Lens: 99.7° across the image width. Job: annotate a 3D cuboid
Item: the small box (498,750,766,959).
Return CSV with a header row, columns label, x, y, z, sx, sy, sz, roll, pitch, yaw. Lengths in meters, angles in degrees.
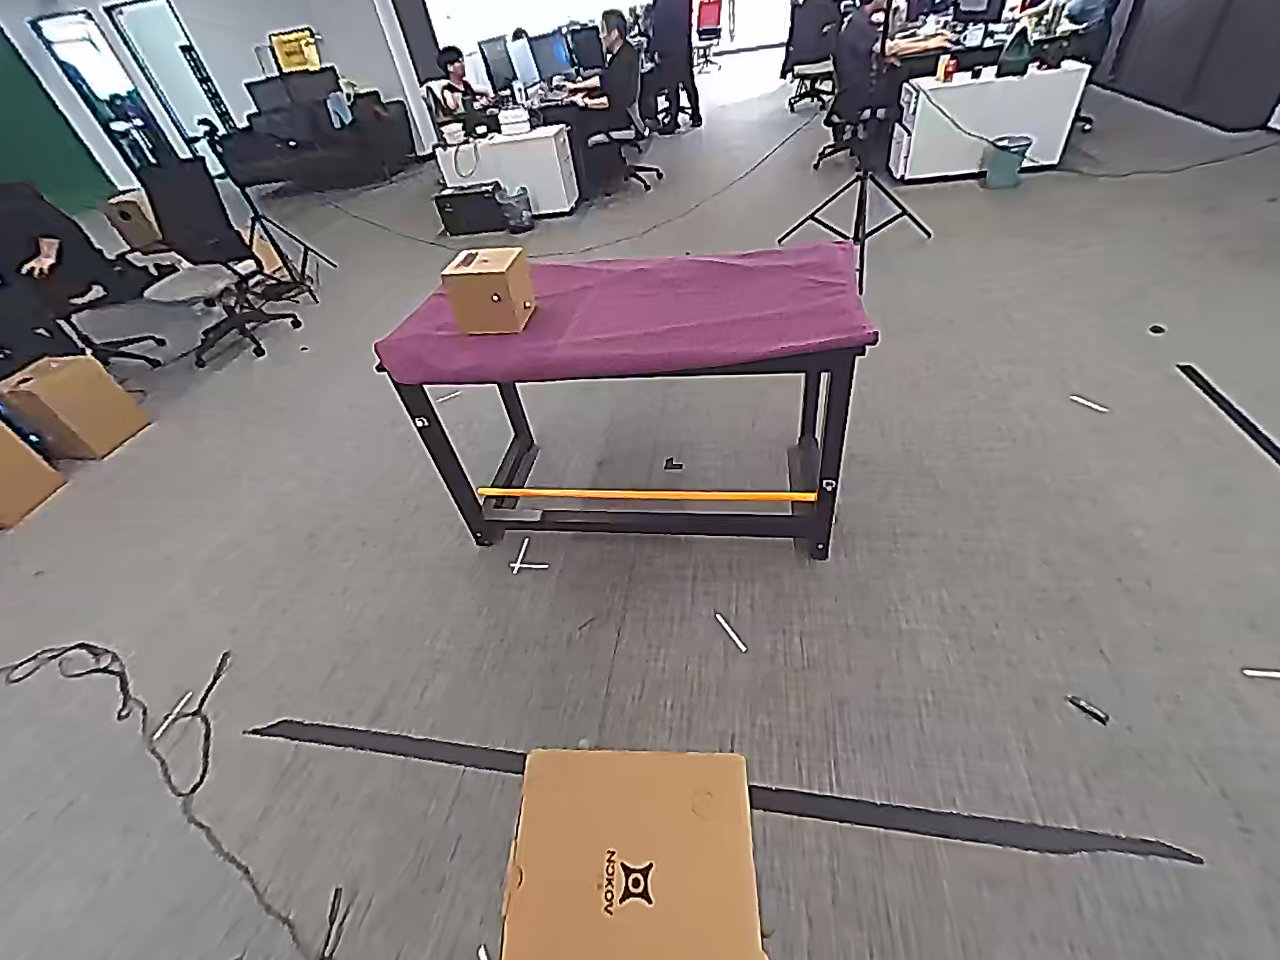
label,x,y,z,sx,sy,sz,roll,pitch,yaw
small box,0.003,0.324,0.435,0.179,0.176,0.168,-4,52,7
